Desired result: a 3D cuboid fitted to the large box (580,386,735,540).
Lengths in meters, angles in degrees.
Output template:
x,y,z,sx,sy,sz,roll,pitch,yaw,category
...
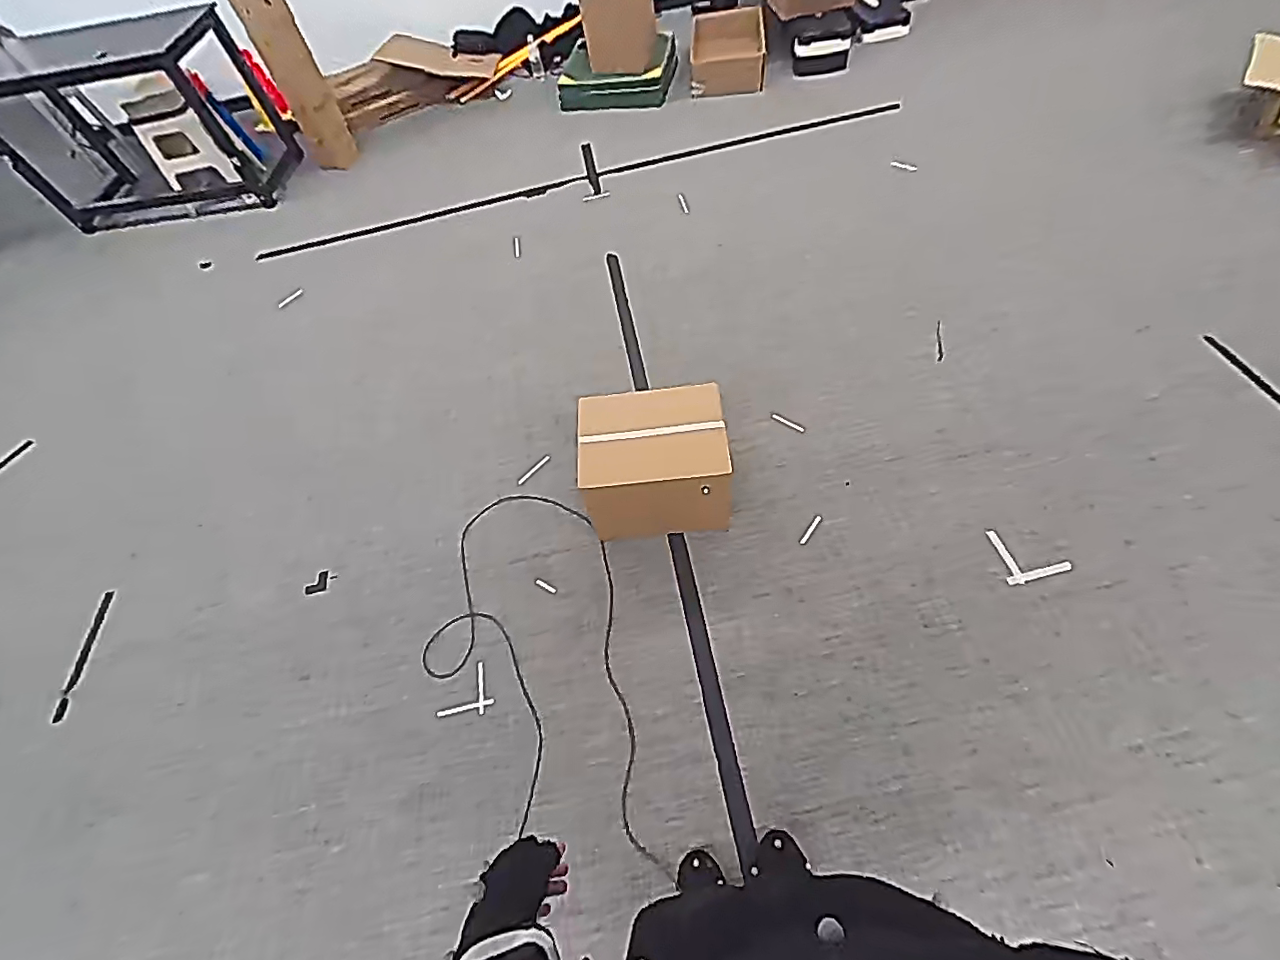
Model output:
x,y,z,sx,sy,sz,roll,pitch,yaw,category
0.052,-0.038,1.591,0.408,0.320,0.320,-6,57,4,large box
